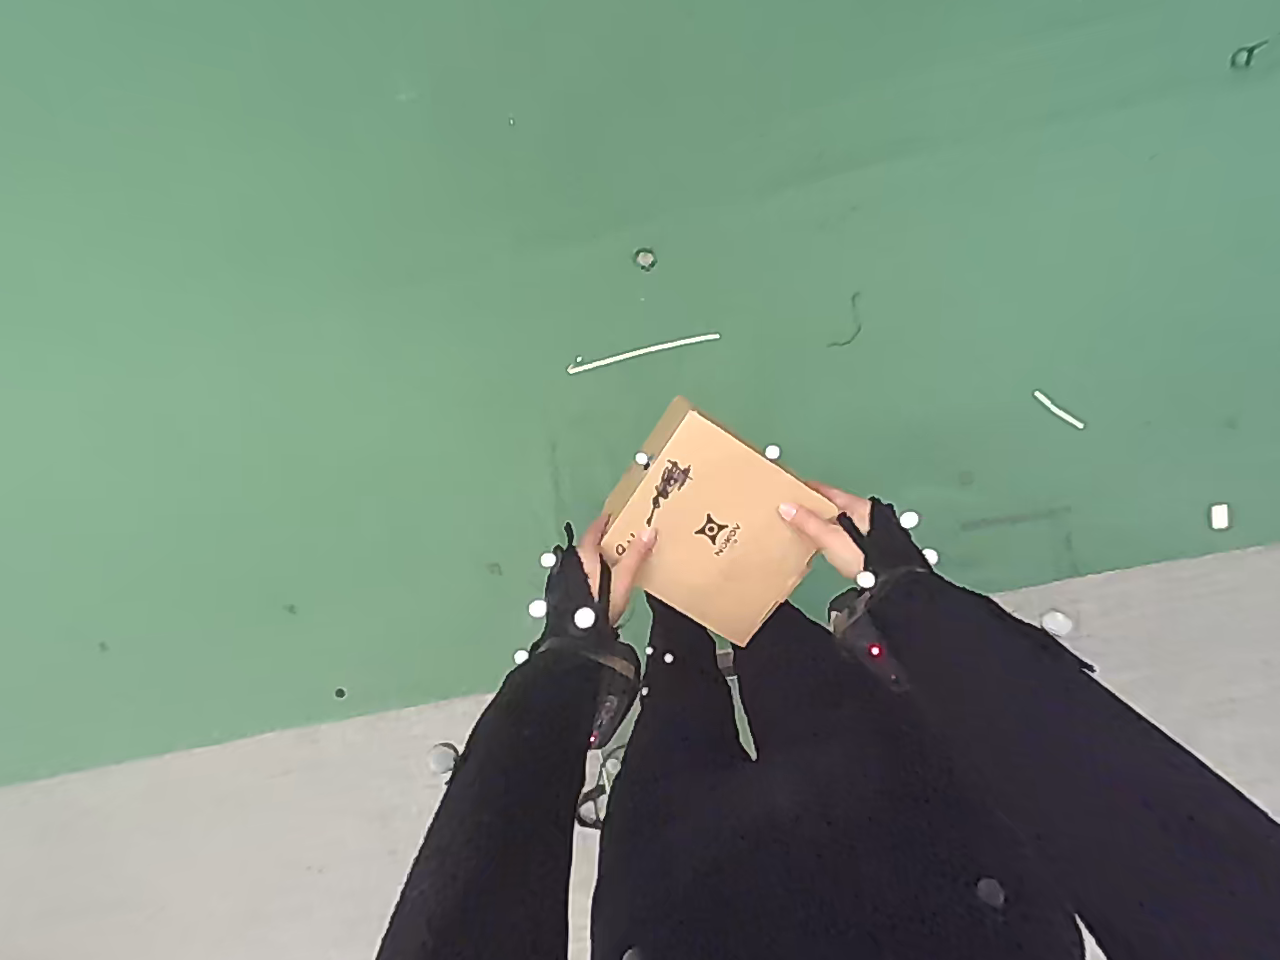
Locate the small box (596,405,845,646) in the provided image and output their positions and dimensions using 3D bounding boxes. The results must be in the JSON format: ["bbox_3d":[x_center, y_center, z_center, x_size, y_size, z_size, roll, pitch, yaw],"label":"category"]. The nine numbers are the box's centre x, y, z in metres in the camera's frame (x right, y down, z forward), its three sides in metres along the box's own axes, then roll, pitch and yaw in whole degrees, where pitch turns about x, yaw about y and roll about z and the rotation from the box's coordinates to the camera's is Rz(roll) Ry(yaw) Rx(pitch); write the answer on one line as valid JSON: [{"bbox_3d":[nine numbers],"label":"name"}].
[{"bbox_3d":[0.073,0.034,0.575,0.179,0.176,0.168,33,101,-7],"label":"small box"}]
